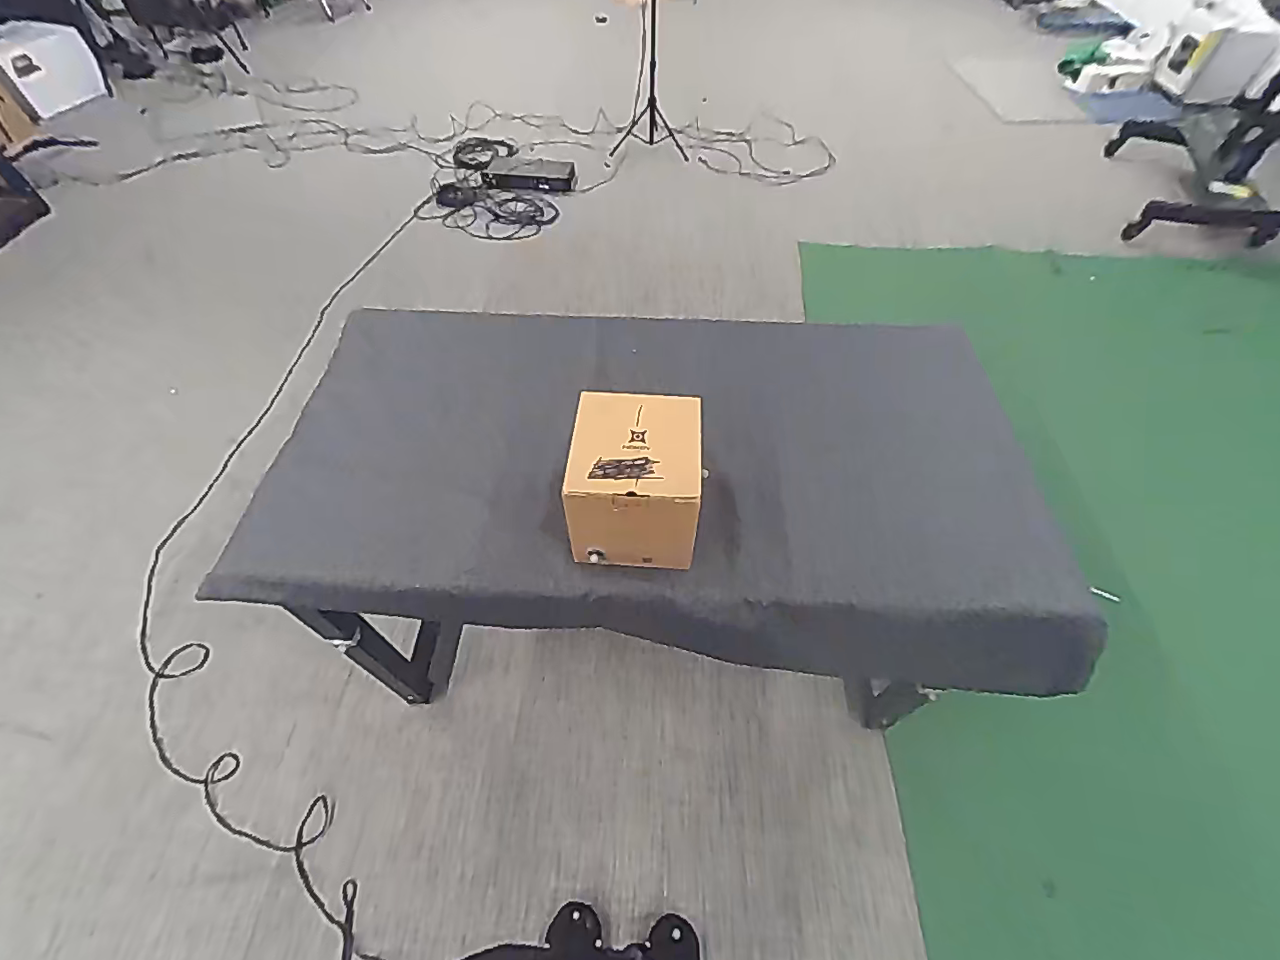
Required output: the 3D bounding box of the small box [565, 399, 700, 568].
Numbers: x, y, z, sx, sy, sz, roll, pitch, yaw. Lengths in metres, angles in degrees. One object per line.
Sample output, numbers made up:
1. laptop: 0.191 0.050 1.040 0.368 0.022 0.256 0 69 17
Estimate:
1. small box: -0.004 0.009 0.767 0.168 0.176 0.179 3 51 2
